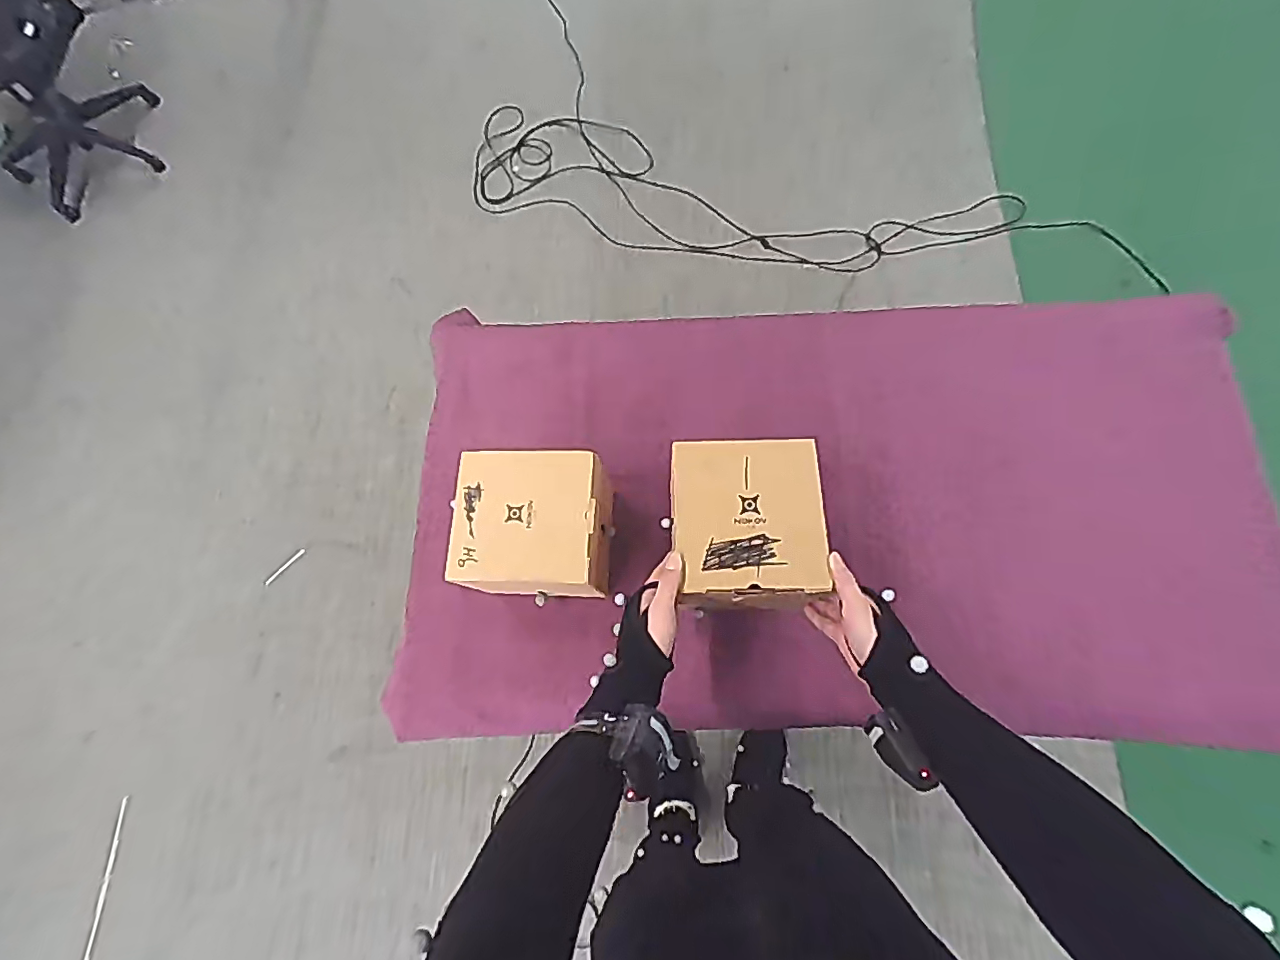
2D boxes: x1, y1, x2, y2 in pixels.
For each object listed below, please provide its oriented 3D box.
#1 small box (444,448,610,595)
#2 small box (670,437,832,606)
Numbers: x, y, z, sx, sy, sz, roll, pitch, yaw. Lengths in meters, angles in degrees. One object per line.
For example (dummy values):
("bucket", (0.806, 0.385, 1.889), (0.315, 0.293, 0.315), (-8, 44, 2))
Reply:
("small box", (-0.137, 0.063, 0.727), (0.179, 0.176, 0.168), (1, 73, 4))
("small box", (0.123, 0.060, 0.666), (0.168, 0.176, 0.179), (-1, 70, 1))
